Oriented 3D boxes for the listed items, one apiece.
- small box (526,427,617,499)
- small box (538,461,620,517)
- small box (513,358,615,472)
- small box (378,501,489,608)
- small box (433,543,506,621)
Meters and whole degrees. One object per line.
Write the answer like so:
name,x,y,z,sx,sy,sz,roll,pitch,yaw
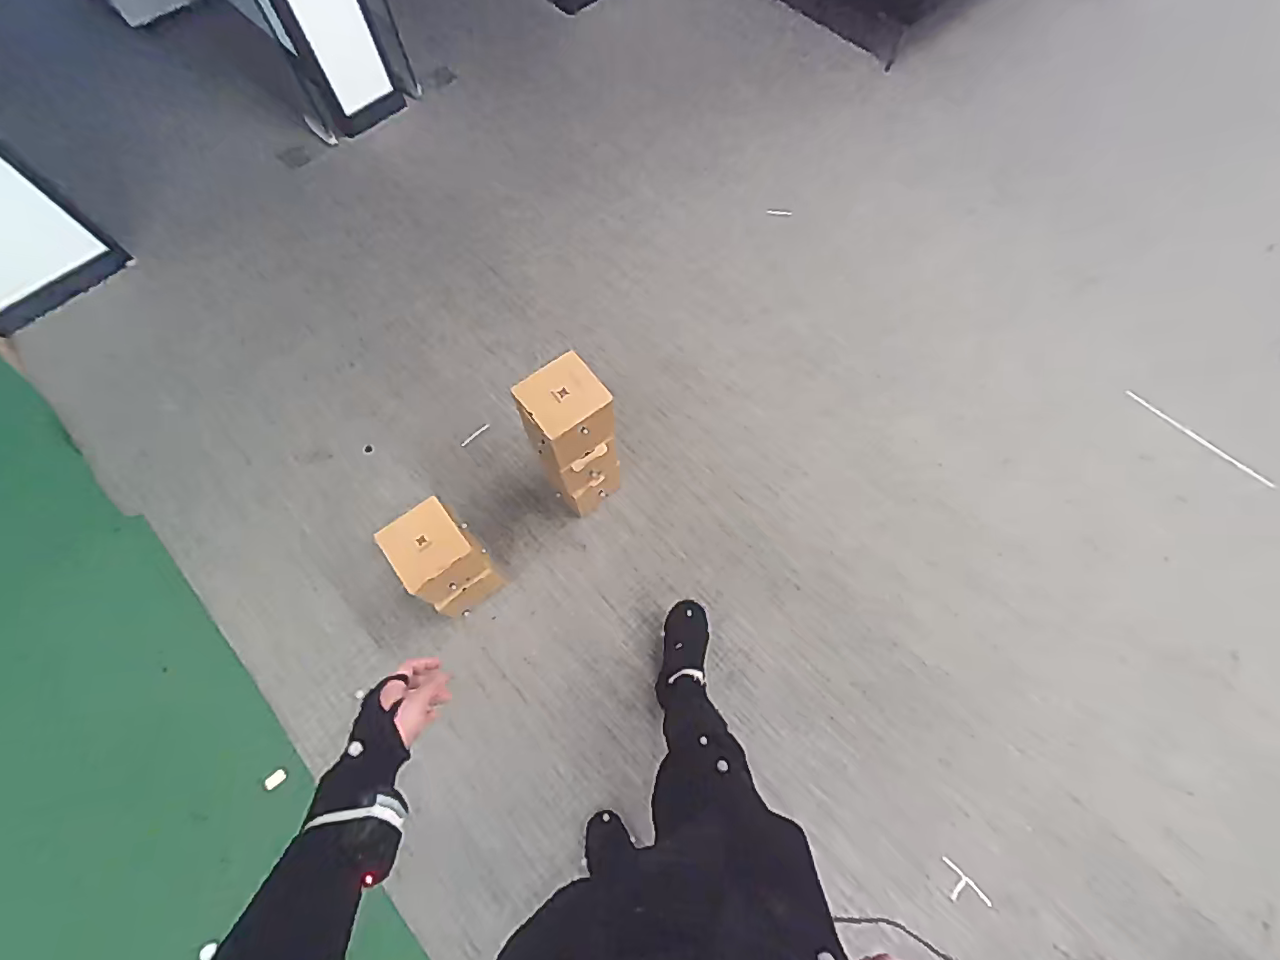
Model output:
small box,-0.176,-0.080,1.429,0.168,0.176,0.179,-35,72,-13
small box,-0.169,-0.010,1.578,0.168,0.176,0.179,-39,74,-15
small box,-0.170,-0.146,1.280,0.179,0.176,0.168,-35,72,-13
small box,-0.497,0.188,1.321,0.168,0.176,0.179,-36,73,-14
small box,-0.492,0.269,1.480,0.168,0.176,0.179,-37,72,-14
